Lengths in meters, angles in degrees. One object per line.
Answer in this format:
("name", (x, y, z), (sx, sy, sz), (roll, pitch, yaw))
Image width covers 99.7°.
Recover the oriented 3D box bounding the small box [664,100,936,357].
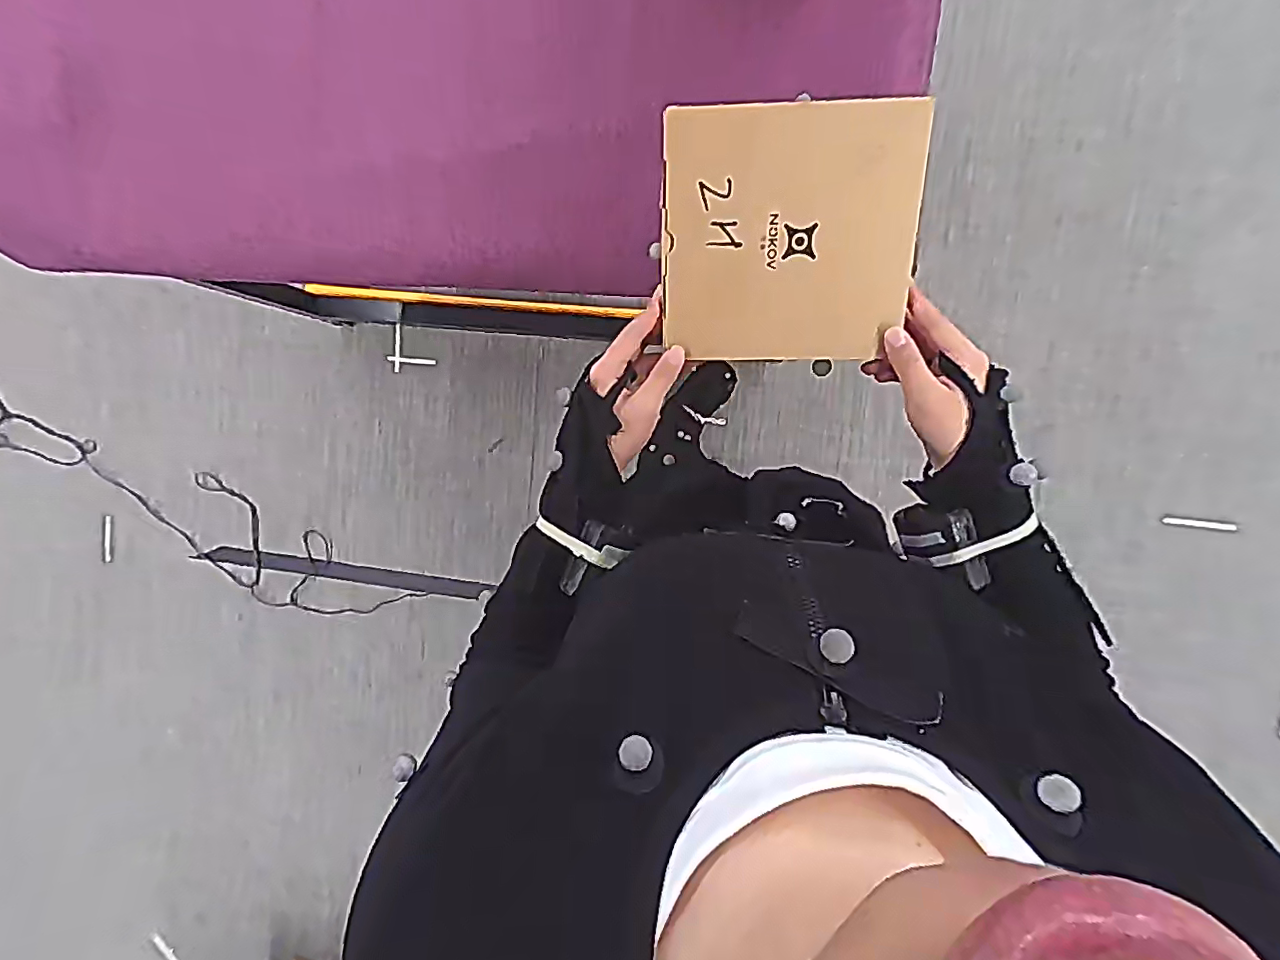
("small box", (0.111, -0.198, 0.454), (0.179, 0.176, 0.168), (1, 109, 5))
